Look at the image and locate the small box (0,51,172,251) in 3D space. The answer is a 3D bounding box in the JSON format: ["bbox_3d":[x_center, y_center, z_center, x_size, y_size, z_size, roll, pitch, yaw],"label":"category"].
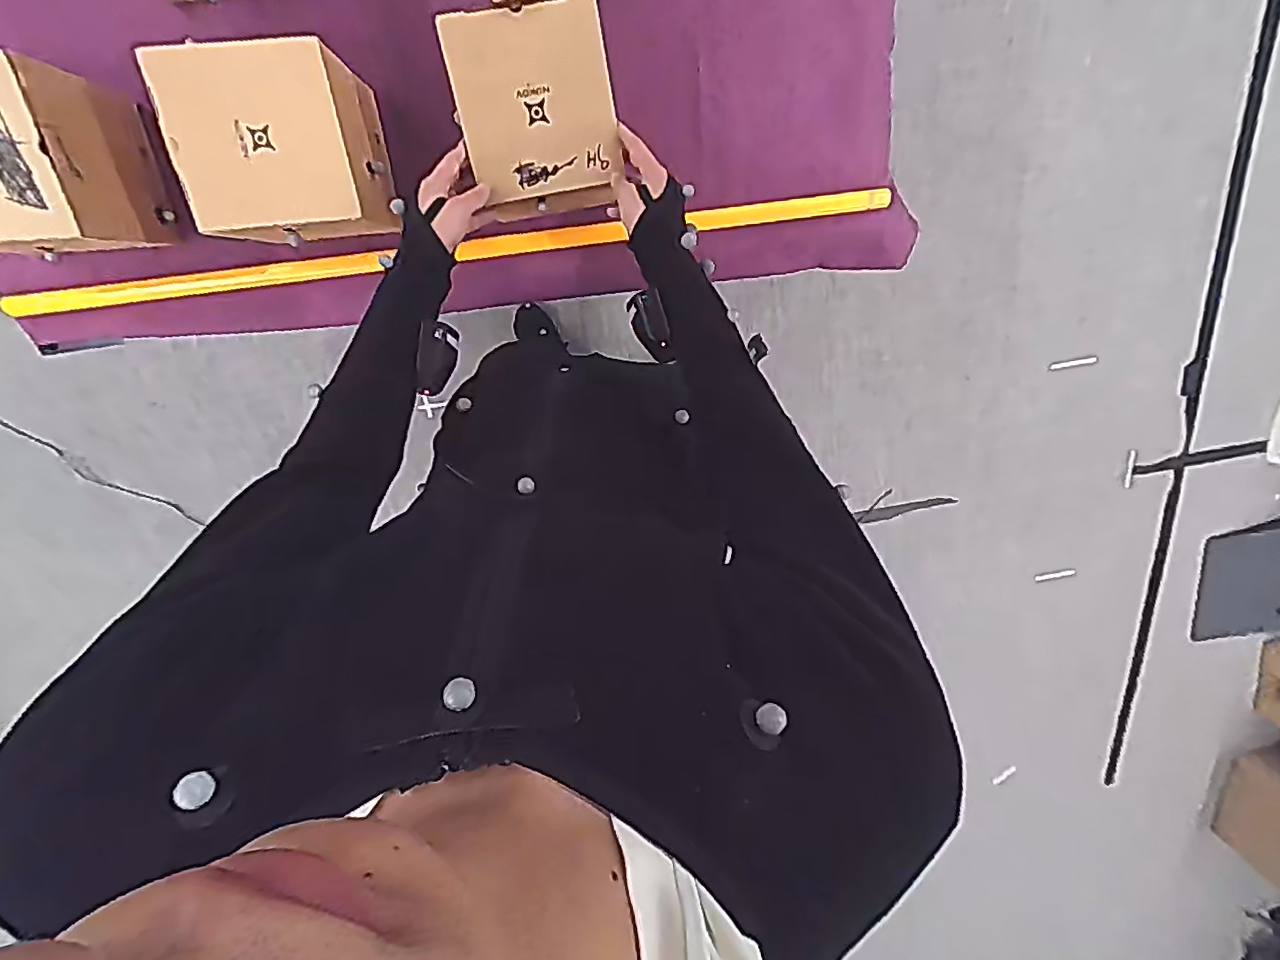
[{"bbox_3d":[-0.681,-0.351,0.605,0.179,0.176,0.168,-6,112,-5],"label":"small box"}]

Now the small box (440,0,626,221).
[{"bbox_3d":[-0.117,-0.425,0.644,0.168,0.176,0.179,-11,110,-3],"label":"small box"}]

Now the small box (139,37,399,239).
[{"bbox_3d":[-0.400,-0.380,0.630,0.179,0.176,0.168,-7,111,-3],"label":"small box"}]
